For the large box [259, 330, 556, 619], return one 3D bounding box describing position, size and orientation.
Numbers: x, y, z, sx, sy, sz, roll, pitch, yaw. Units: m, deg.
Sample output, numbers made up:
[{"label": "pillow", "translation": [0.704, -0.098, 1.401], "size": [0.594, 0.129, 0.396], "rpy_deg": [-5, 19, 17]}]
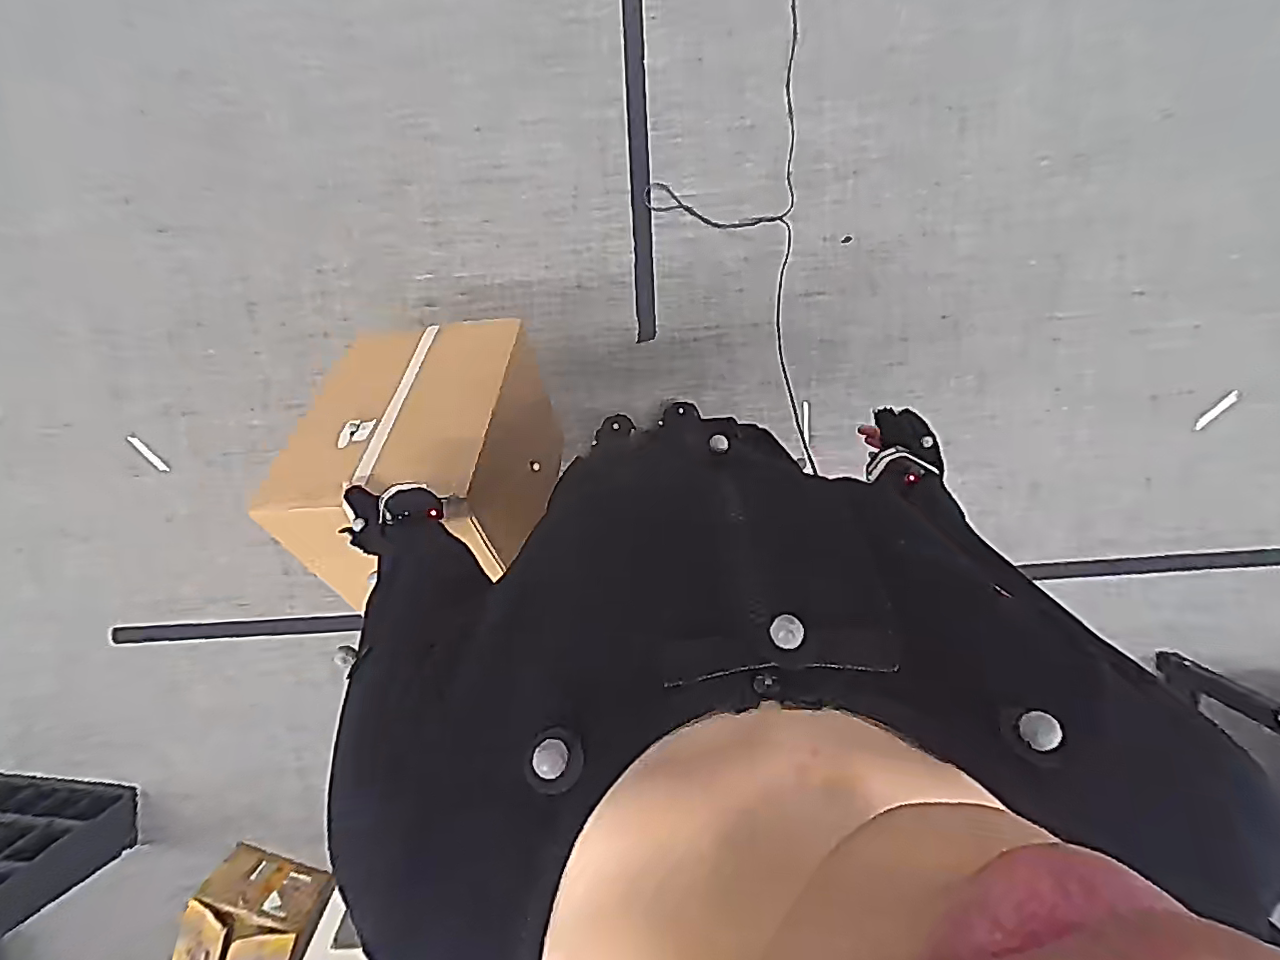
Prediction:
[{"label": "large box", "translation": [-0.351, -0.010, 0.959], "size": [0.320, 0.408, 0.320], "rpy_deg": [-6, 139, 8]}]
